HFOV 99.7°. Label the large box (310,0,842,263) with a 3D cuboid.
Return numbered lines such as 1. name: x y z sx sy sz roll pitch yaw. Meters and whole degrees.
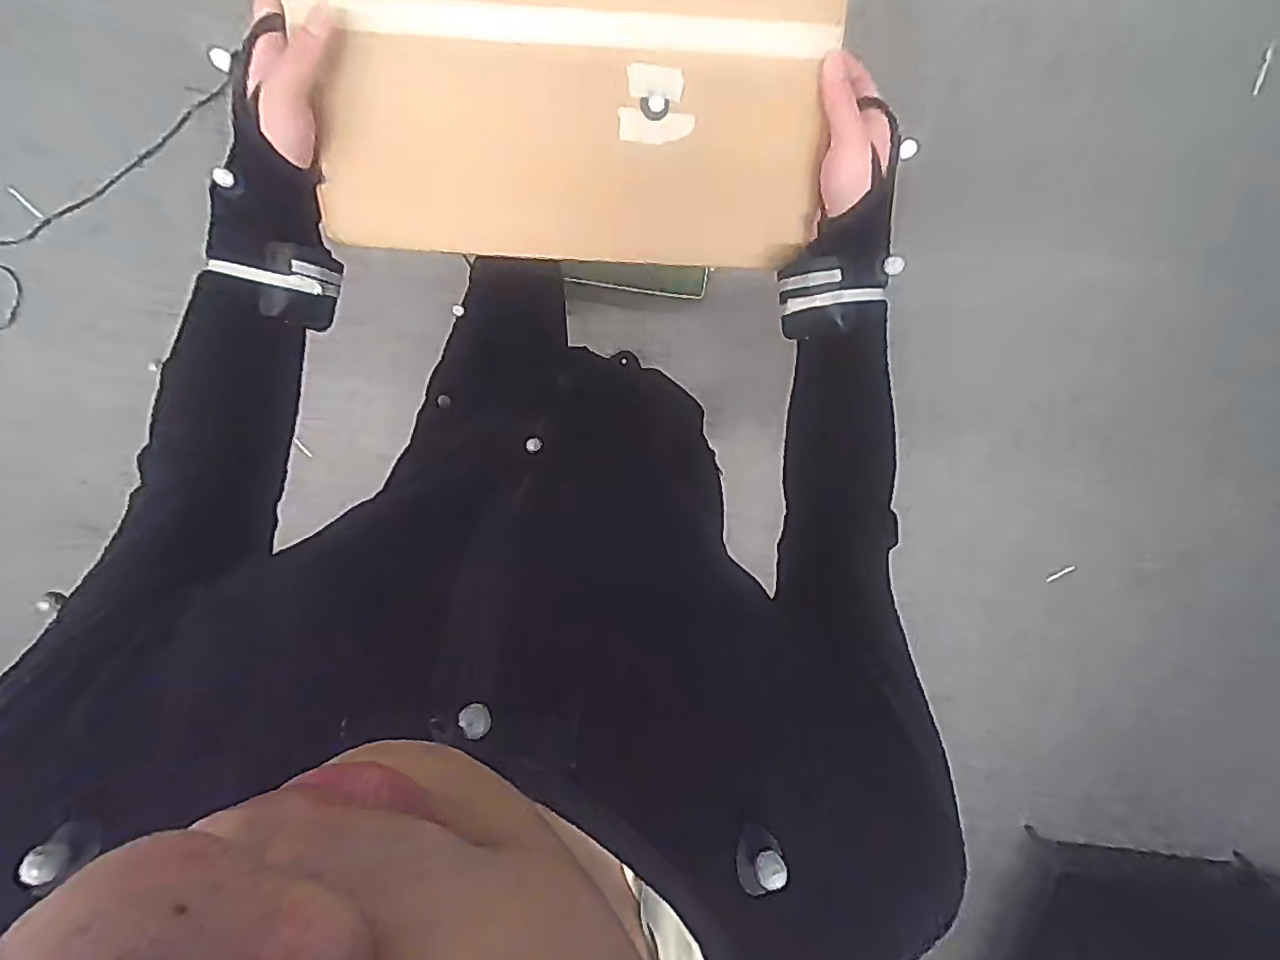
1. large box: -0.053 -0.397 0.546 0.408 0.320 0.320 2 115 -3
